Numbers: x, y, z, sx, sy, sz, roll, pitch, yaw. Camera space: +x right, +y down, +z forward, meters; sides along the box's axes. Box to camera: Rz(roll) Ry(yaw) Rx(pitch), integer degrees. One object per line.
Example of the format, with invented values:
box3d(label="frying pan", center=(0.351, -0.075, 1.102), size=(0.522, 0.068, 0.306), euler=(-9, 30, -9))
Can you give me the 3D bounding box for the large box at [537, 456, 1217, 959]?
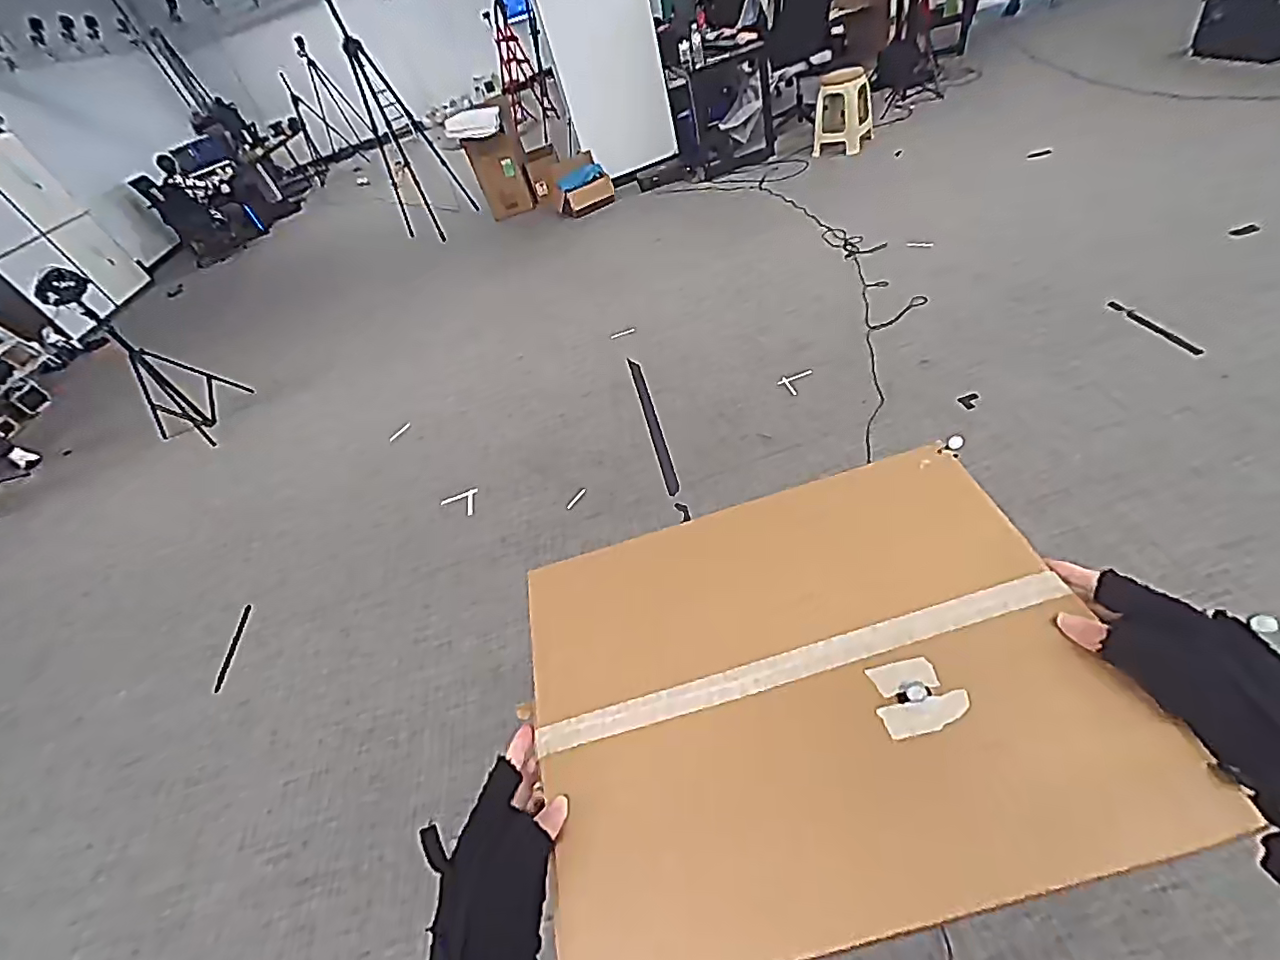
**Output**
box3d(label="large box", center=(0.152, 0.240, 0.528), size=(0.408, 0.320, 0.320), euler=(-18, 49, 2))
